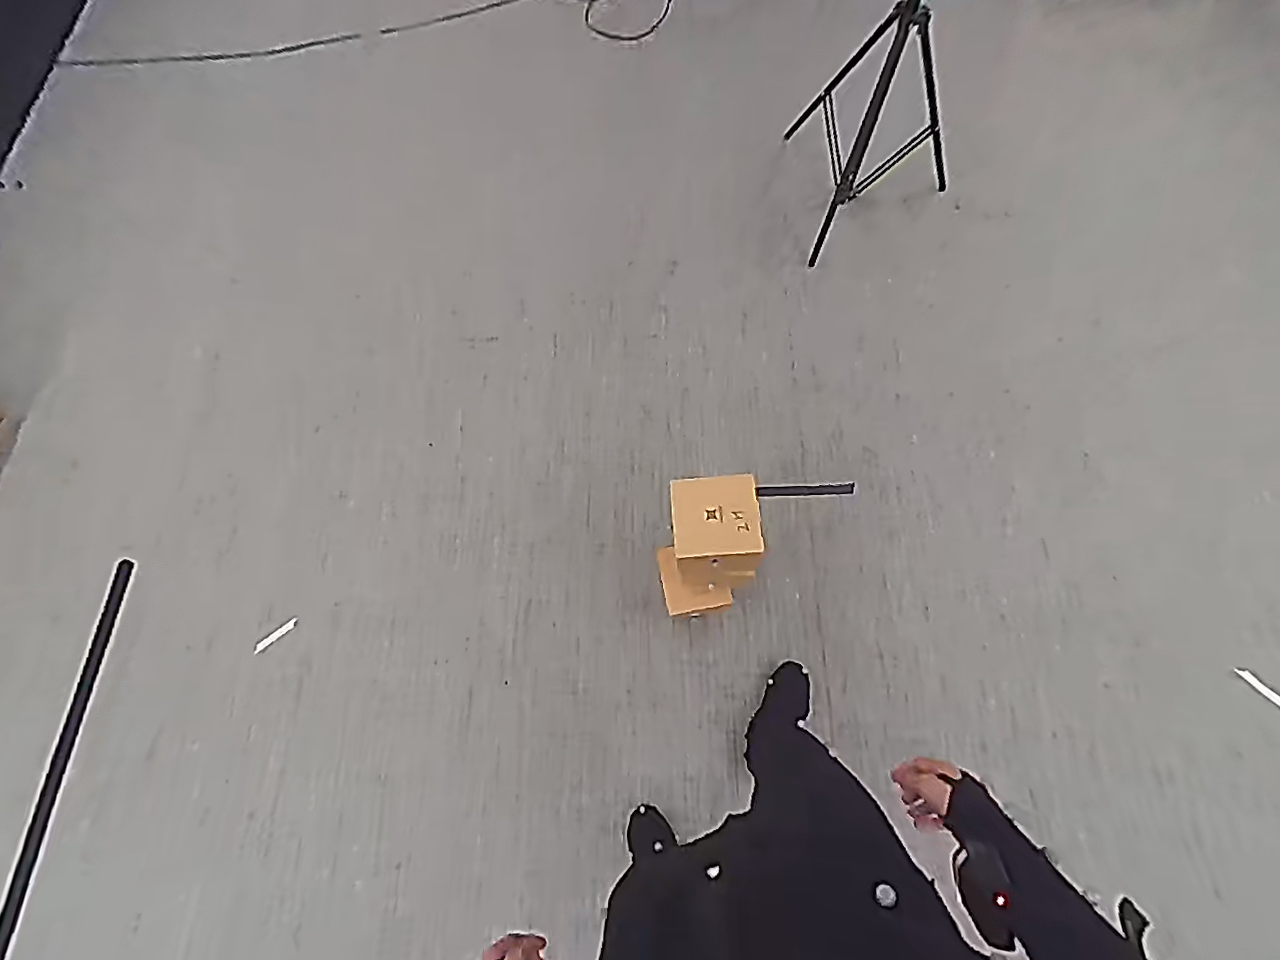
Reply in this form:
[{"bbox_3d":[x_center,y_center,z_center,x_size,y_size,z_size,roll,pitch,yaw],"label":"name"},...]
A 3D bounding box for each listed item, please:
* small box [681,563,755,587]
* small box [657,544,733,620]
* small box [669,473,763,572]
[{"bbox_3d":[0.182,0.152,1.295,0.168,0.176,0.179,2,70,6],"label":"small box"},{"bbox_3d":[0.141,0.264,1.431,0.168,0.176,0.179,-11,70,0],"label":"small box"},{"bbox_3d":[0.156,0.095,1.142,0.179,0.176,0.168,-4,69,4],"label":"small box"}]
